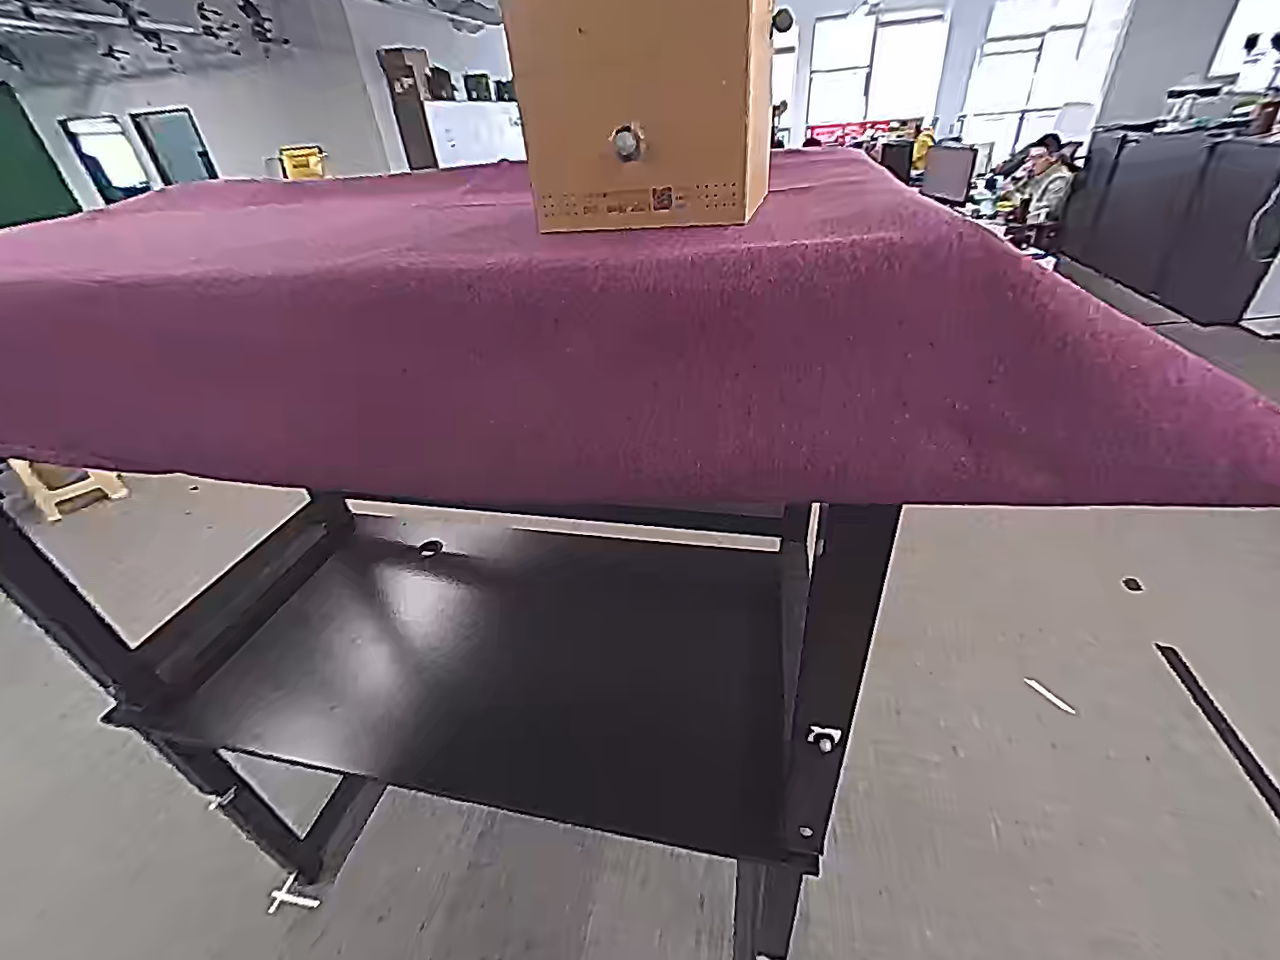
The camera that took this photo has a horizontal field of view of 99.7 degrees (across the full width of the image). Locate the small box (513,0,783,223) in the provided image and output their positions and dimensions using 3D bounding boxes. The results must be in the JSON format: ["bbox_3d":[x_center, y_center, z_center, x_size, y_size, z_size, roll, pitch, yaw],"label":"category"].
[{"bbox_3d":[0.016,-0.304,0.419,0.168,0.176,0.179,5,35,16],"label":"small box"}]
